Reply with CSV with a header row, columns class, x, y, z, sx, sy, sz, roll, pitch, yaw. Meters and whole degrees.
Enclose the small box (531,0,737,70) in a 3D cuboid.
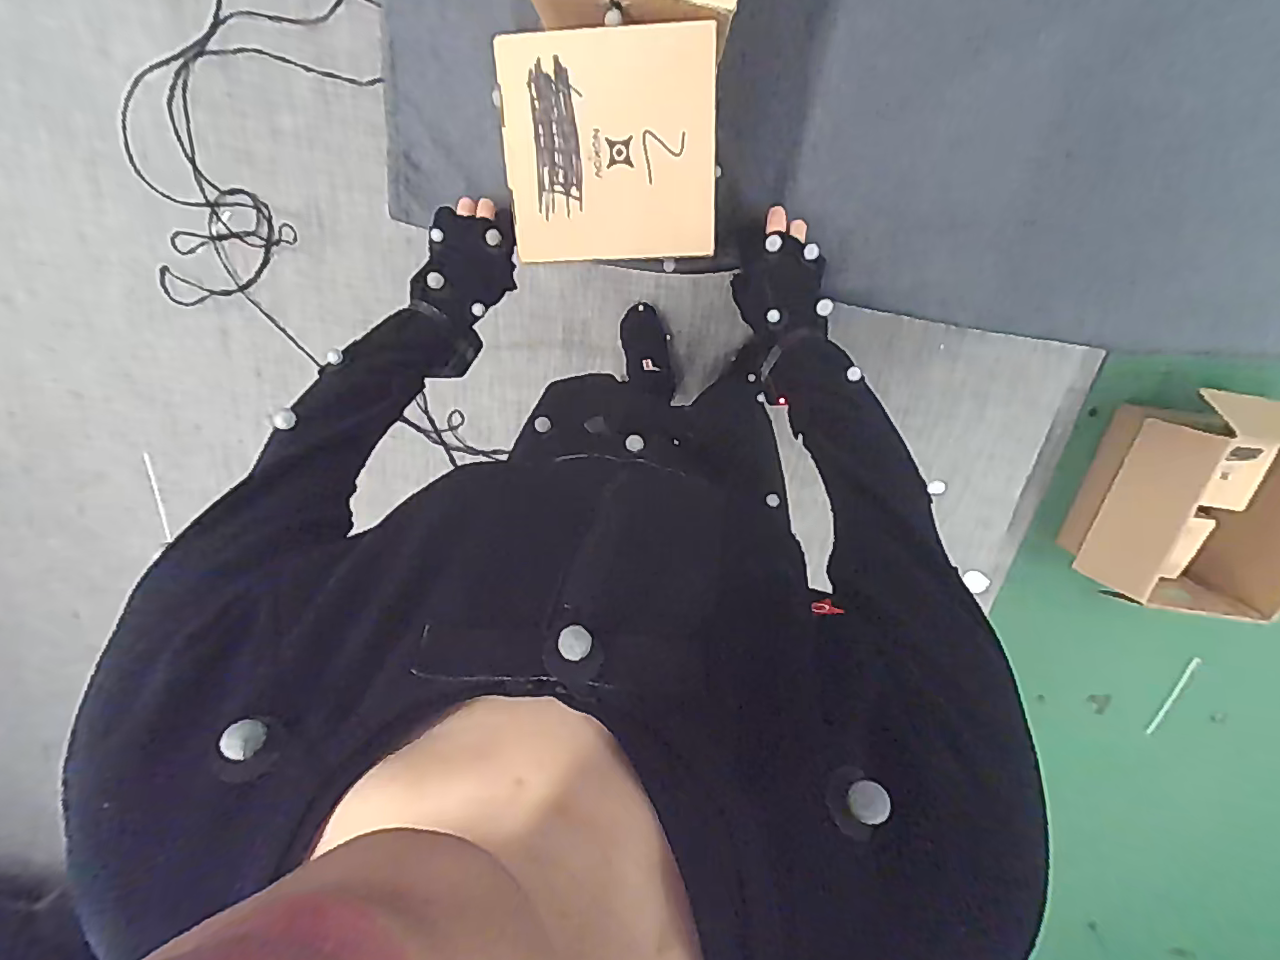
class,x,y,z,sx,sy,sz,roll,pitch,yaw
small box,0.005,-0.472,0.448,0.179,0.176,0.168,12,112,-1
